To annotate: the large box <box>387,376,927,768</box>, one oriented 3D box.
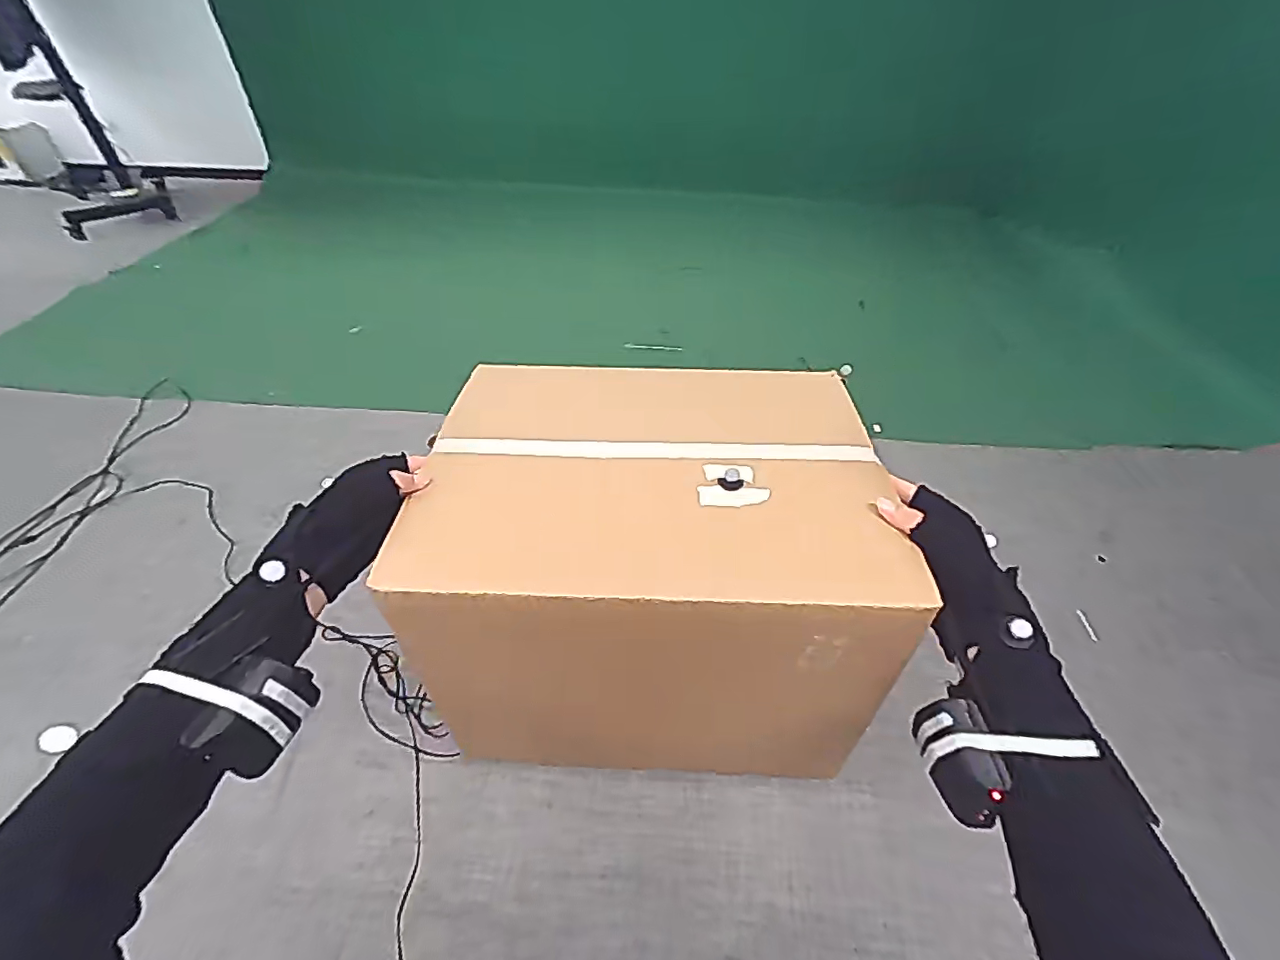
[{"bbox_3d":[0.013,0.097,0.599,0.408,0.320,0.320,2,42,2],"label":"large box"}]
